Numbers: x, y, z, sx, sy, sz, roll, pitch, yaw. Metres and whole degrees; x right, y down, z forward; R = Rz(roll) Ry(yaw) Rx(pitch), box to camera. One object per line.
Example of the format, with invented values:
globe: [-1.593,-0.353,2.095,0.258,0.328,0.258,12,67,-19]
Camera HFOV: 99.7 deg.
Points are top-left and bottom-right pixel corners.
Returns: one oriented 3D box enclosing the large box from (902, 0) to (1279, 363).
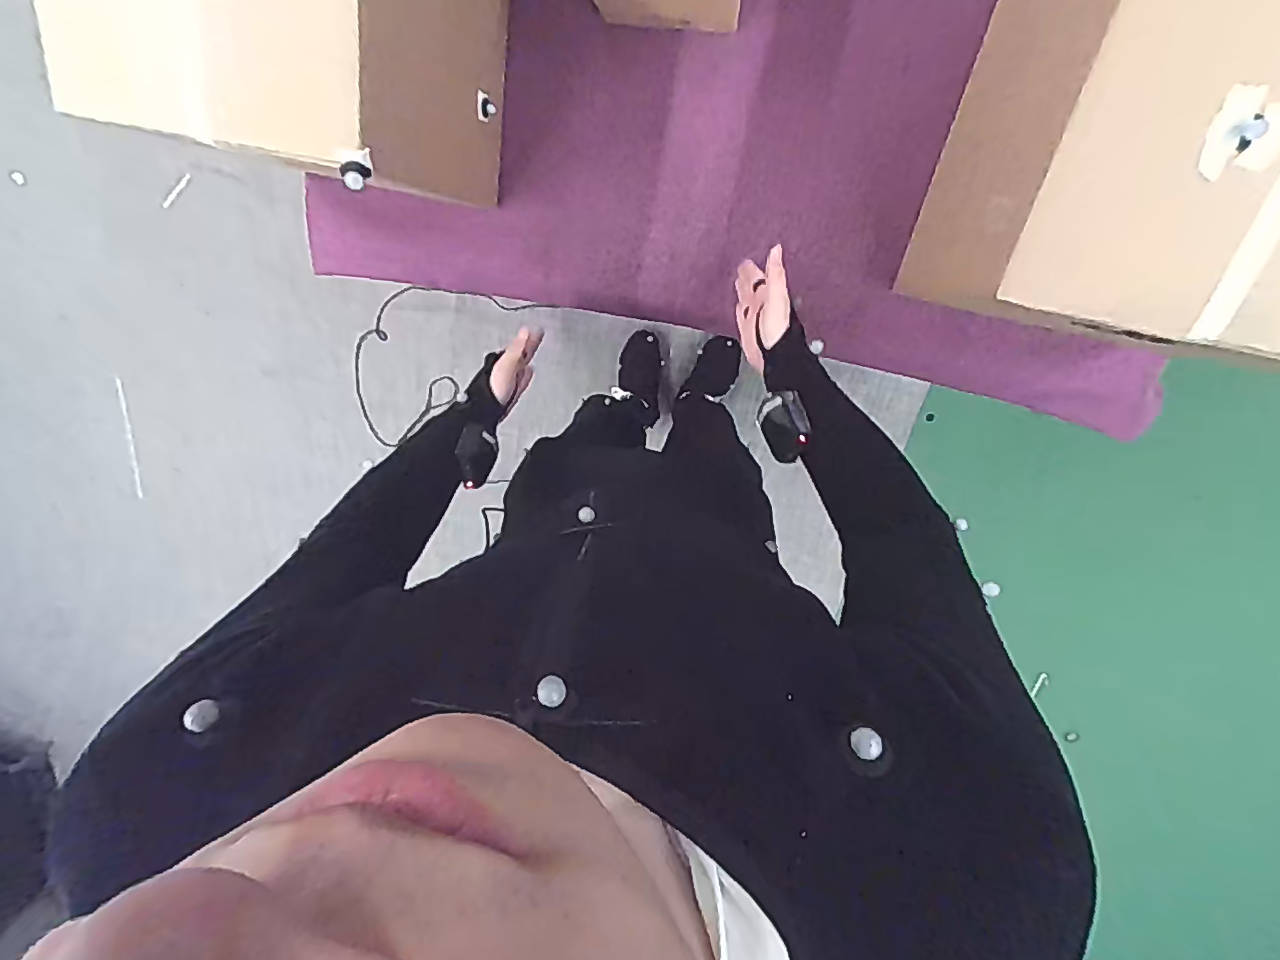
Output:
large box: [0.504,-0.347,0.501,0.320,0.320,0.408,14,112,5]
